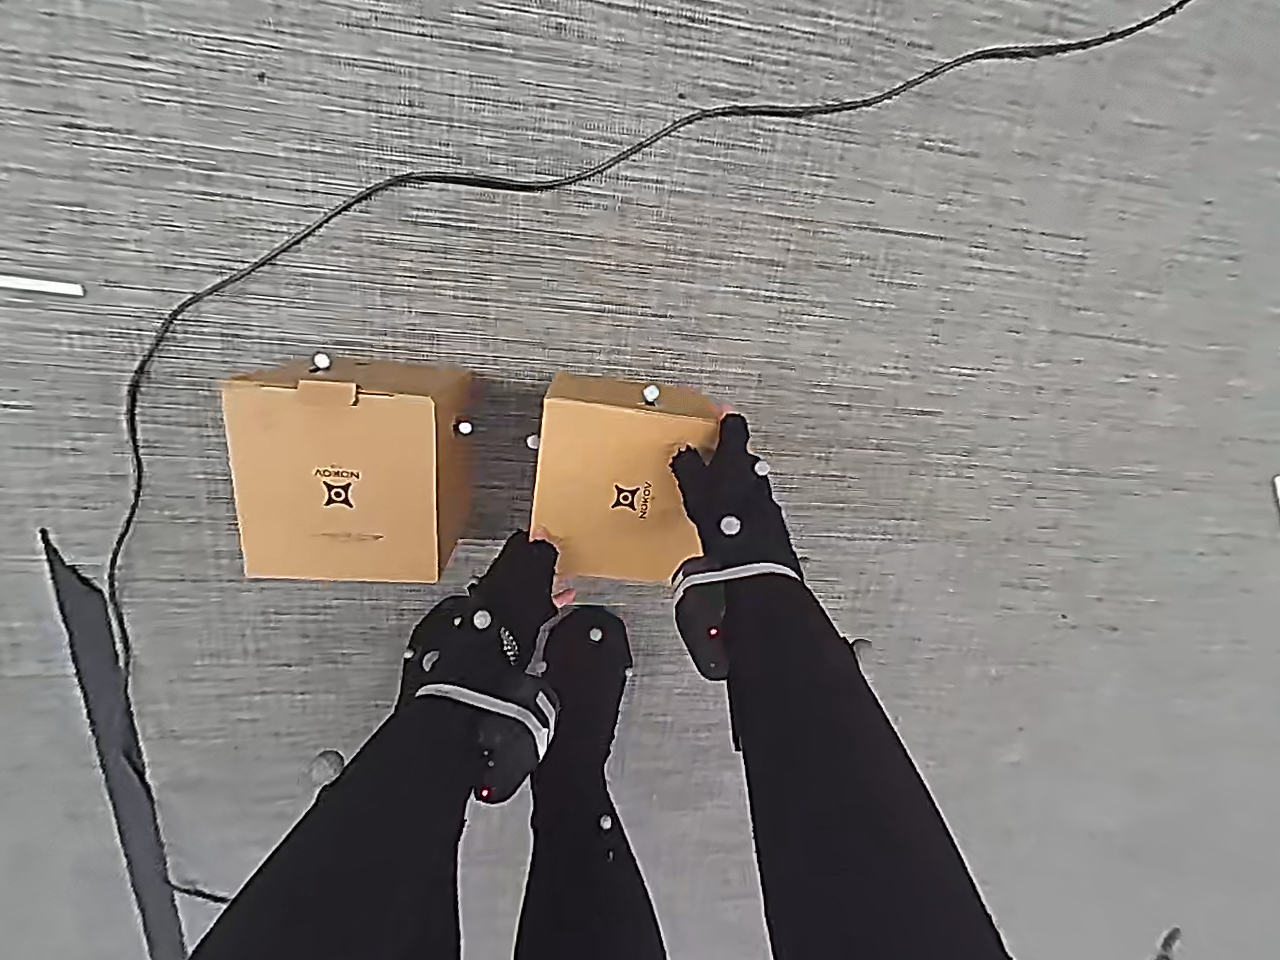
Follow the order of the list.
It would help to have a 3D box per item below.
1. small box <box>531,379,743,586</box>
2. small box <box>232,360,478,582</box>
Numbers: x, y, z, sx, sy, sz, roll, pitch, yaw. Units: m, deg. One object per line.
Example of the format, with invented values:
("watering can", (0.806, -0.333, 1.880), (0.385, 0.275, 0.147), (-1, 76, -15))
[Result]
("small box", (-0.013, -0.007, 0.572), (0.179, 0.176, 0.168), (7, 107, -9))
("small box", (-0.261, -0.019, 0.538), (0.168, 0.176, 0.179), (4, 109, -7))
